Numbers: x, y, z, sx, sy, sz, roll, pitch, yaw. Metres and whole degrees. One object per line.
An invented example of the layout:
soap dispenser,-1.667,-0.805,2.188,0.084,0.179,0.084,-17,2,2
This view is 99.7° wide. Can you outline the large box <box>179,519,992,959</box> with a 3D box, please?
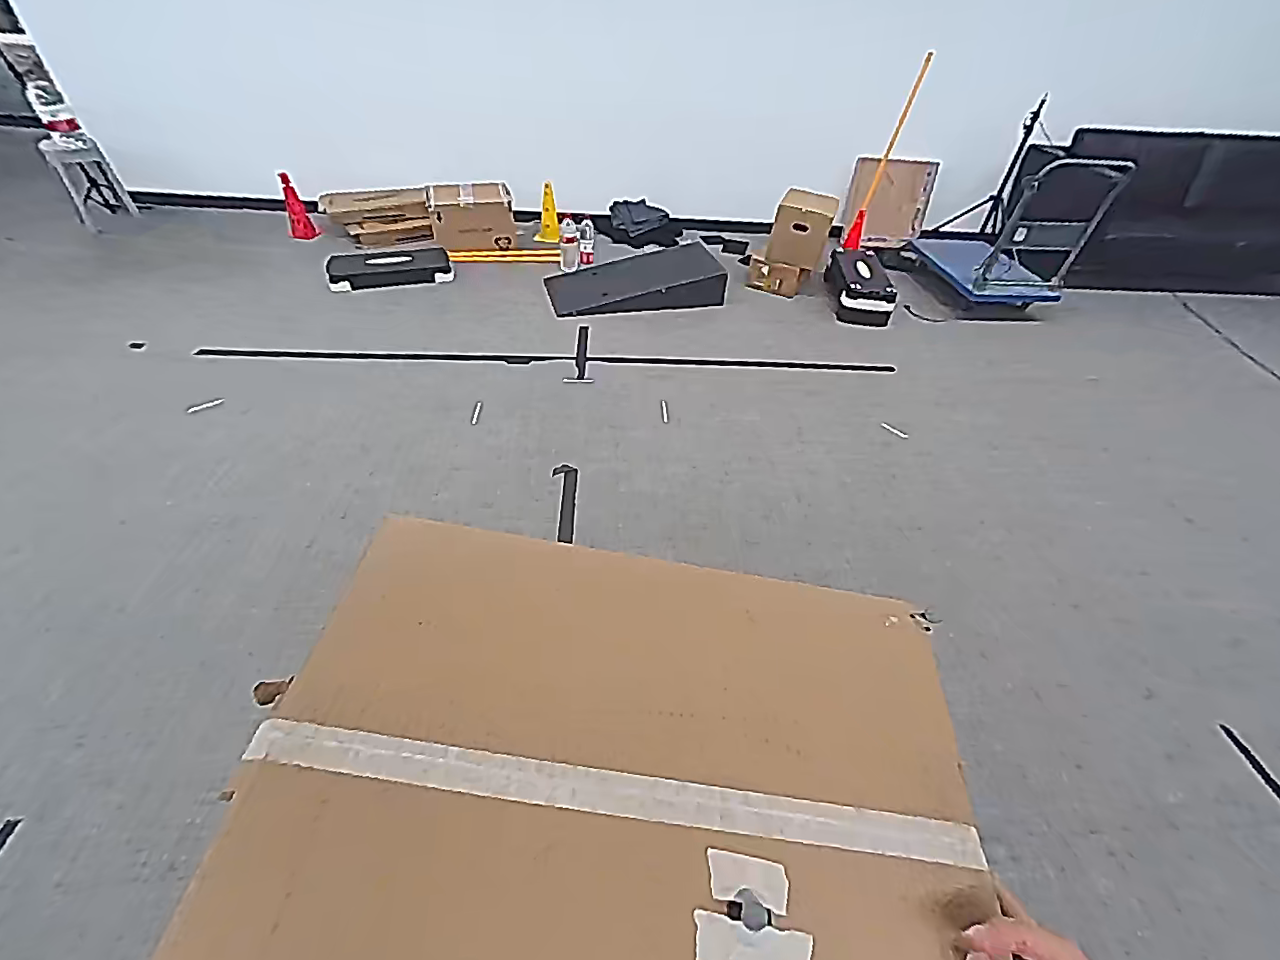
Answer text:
large box,-0.026,0.270,0.428,0.408,0.320,0.320,11,50,-2
